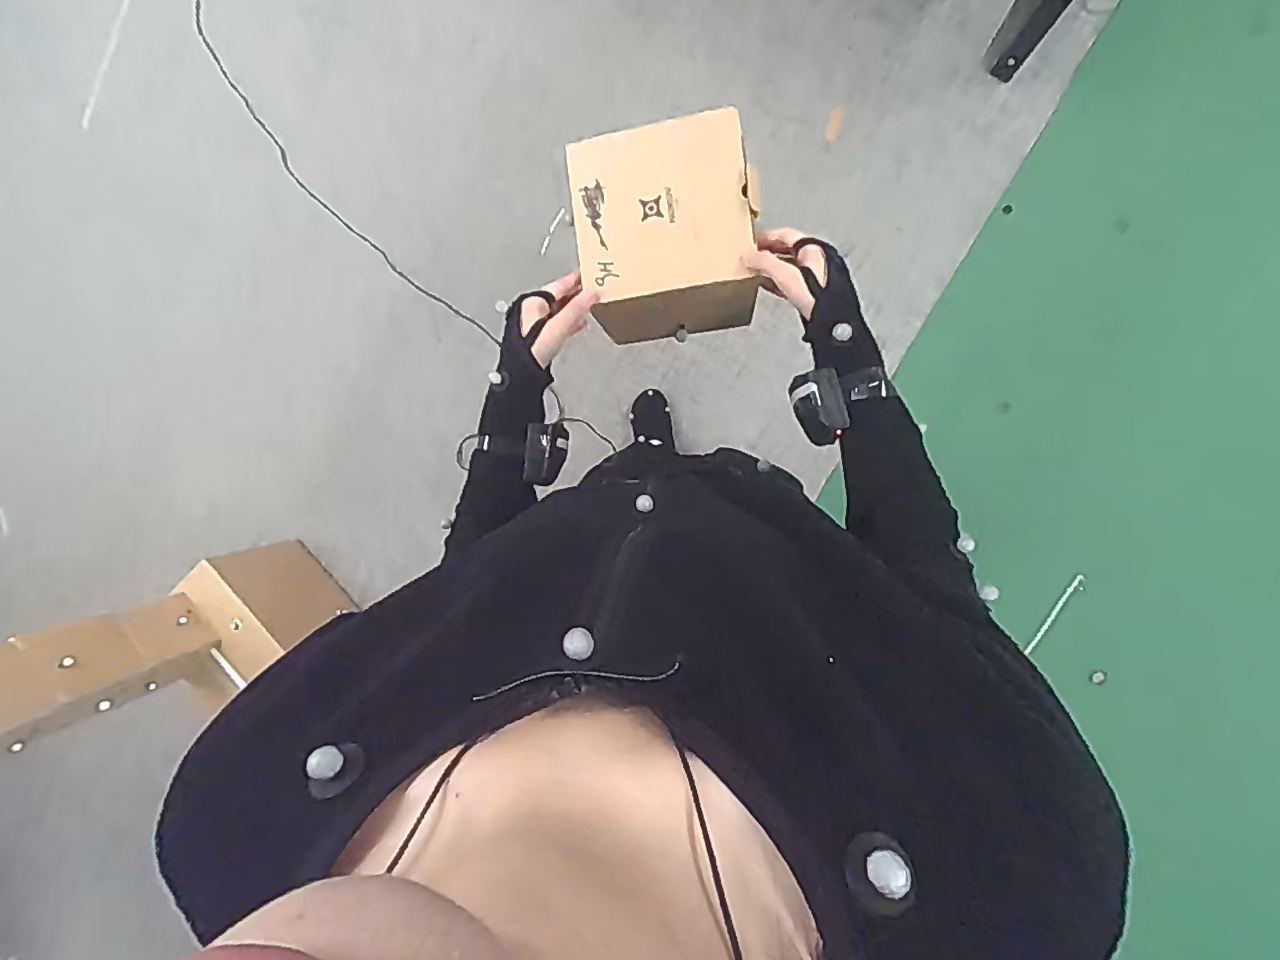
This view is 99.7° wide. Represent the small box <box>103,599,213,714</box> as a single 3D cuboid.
[{"bbox_3d":[-1.203,0.421,1.315,0.179,0.176,0.168,-42,87,10],"label":"small box"}]

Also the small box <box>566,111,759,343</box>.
[{"bbox_3d":[0.029,-0.262,0.603,0.179,0.176,0.168,-7,88,7],"label":"small box"}]

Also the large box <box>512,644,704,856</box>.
[{"bbox_3d":[-0.067,0.673,1.412,0.408,0.320,0.320,16,96,6],"label":"large box"}]

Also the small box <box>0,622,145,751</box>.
[{"bbox_3d":[-1.235,0.426,1.156,0.168,0.176,0.179,-41,88,10],"label":"small box"}]
